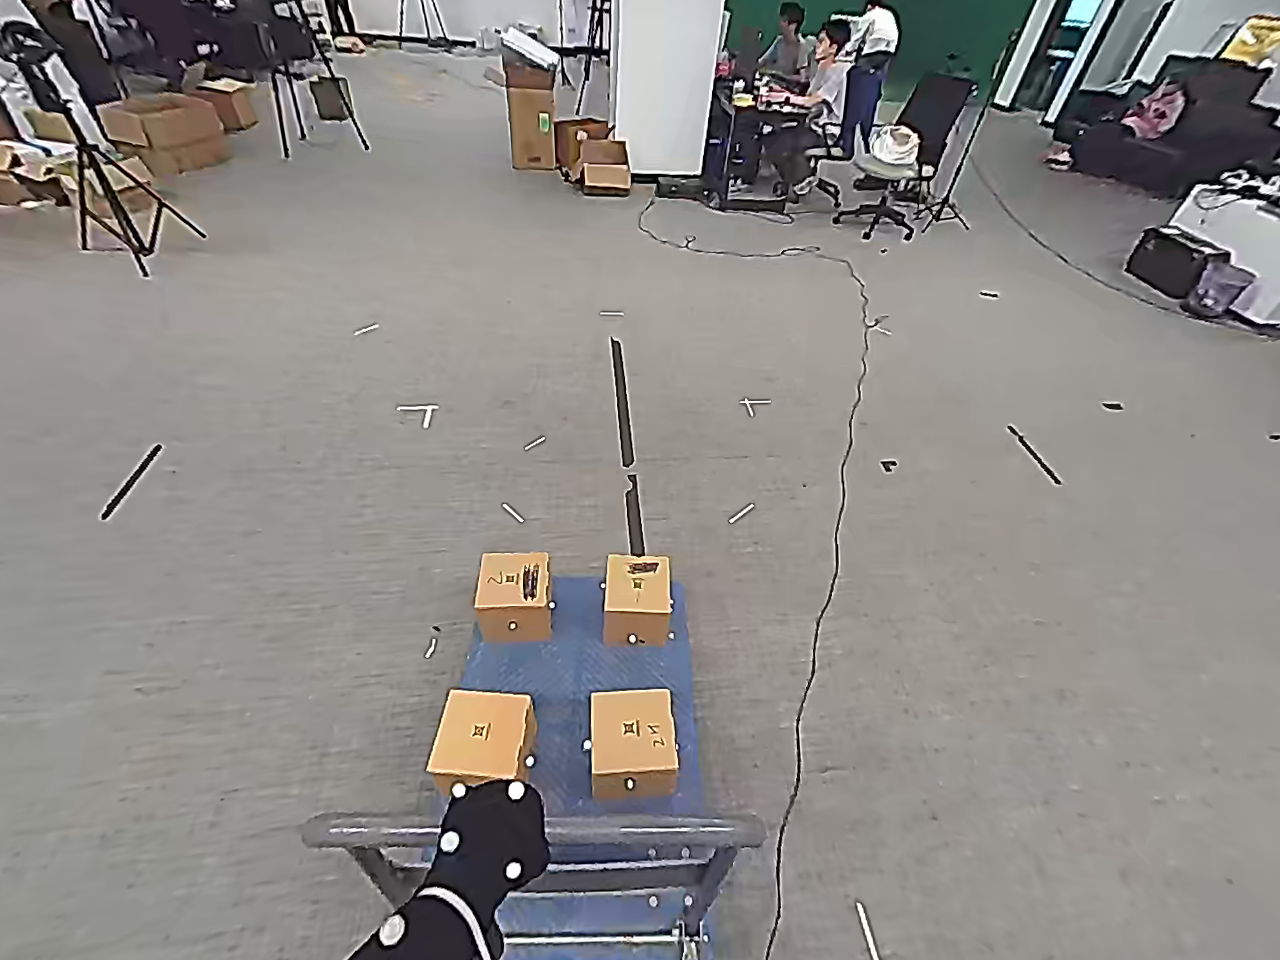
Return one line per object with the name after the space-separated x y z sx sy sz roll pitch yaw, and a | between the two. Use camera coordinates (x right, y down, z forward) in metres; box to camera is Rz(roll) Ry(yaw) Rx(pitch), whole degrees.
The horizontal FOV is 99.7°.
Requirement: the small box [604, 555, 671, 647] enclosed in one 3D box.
-0.009 0.322 1.441 0.168 0.176 0.179 3 45 -2 | small box

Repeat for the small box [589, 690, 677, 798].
-0.020 0.576 1.176 0.179 0.176 0.168 0 44 -5 | small box

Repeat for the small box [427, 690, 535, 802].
-0.329 0.570 1.156 0.179 0.176 0.168 5 43 -2 | small box
